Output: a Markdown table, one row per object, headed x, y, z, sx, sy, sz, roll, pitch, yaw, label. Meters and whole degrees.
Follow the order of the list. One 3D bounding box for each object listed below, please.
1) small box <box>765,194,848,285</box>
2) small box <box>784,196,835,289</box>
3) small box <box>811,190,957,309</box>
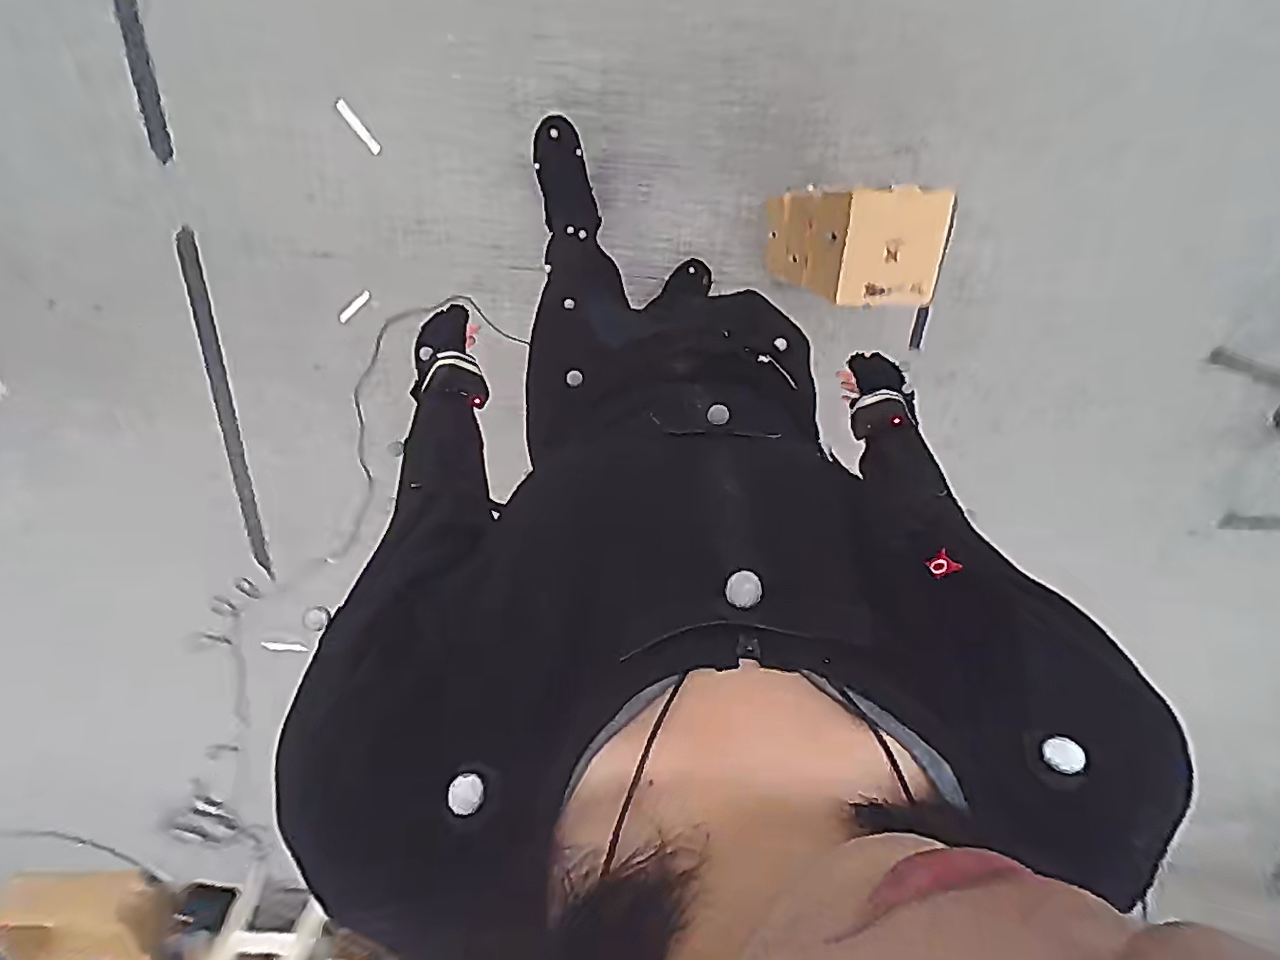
| x | y | z | sx | sy | sz | roll | pitch | yaw | label |
| --- | --- | --- | --- | --- | --- | --- | --- | --- | --- |
| 0.389 | -0.552 | 1.240 | 0.168 | 0.176 | 0.179 | -3 | 114 | 0 | small box |
| 0.404 | -0.479 | 1.096 | 0.179 | 0.176 | 0.168 | 0 | 116 | -2 | small box |
| 0.413 | -0.403 | 0.951 | 0.168 | 0.176 | 0.179 | 1 | 116 | -1 | small box |
